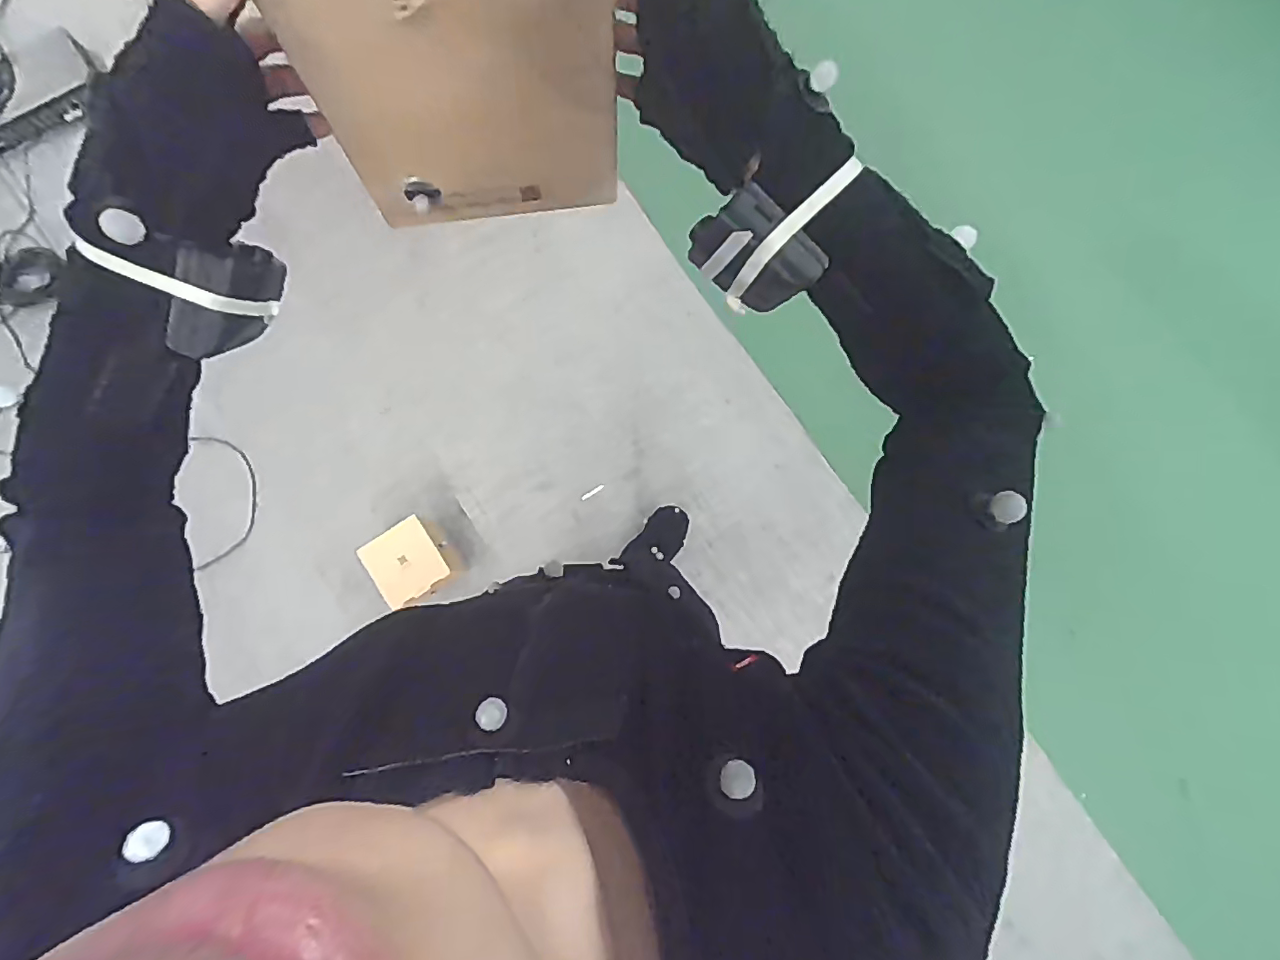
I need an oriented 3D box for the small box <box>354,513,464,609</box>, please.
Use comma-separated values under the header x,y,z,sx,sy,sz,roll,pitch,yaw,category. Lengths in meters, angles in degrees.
x,y,z,sx,sy,sz,roll,pitch,yaw,category
-0.580,0.207,1.377,0.168,0.176,0.179,-34,85,-7,small box
